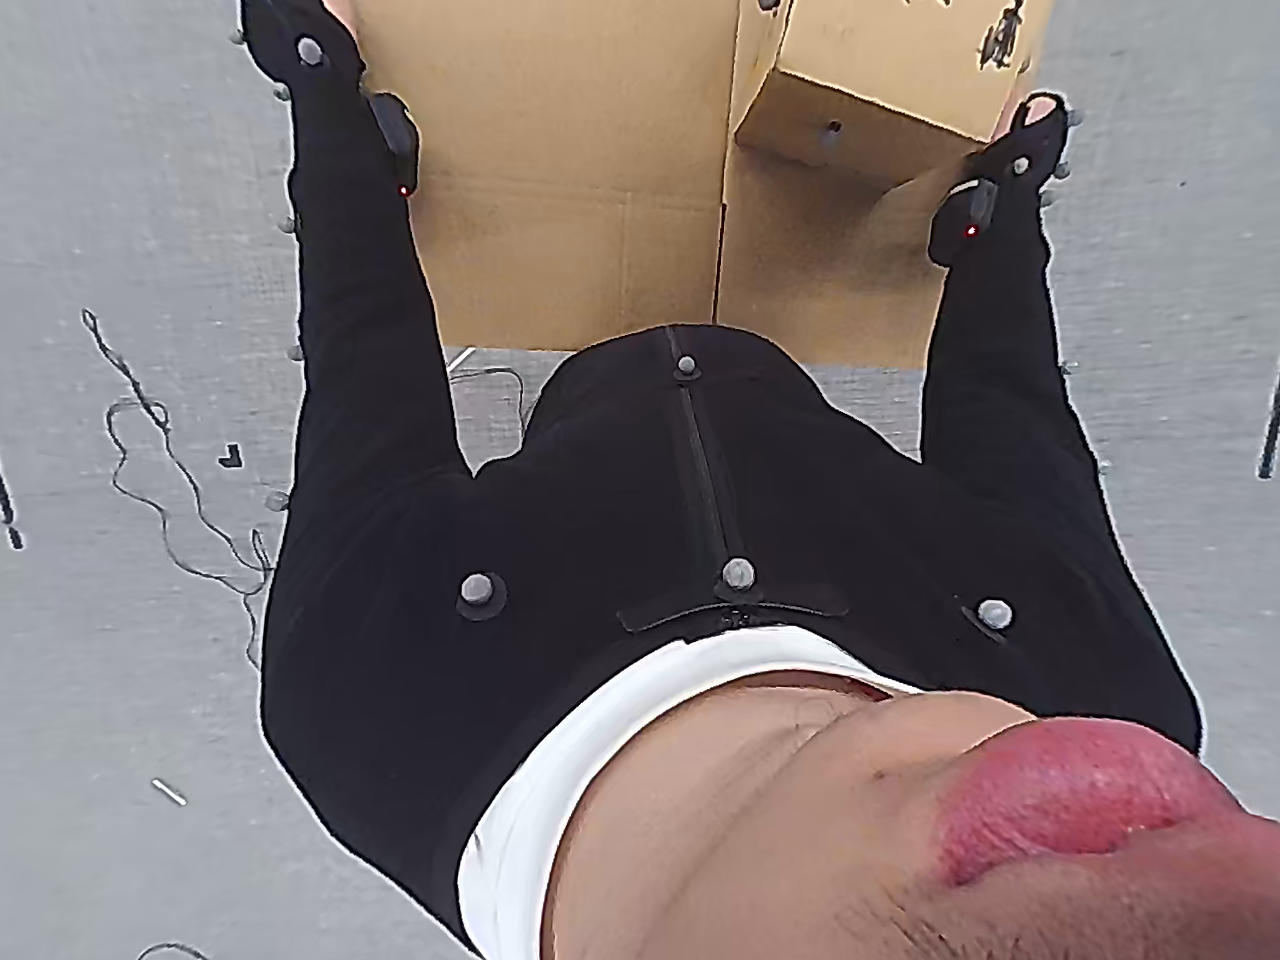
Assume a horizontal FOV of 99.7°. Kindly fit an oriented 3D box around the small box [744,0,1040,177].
[{"bbox_3d":[0.201,-0.381,0.457,0.179,0.176,0.168,15,107,-4],"label":"small box"}]
